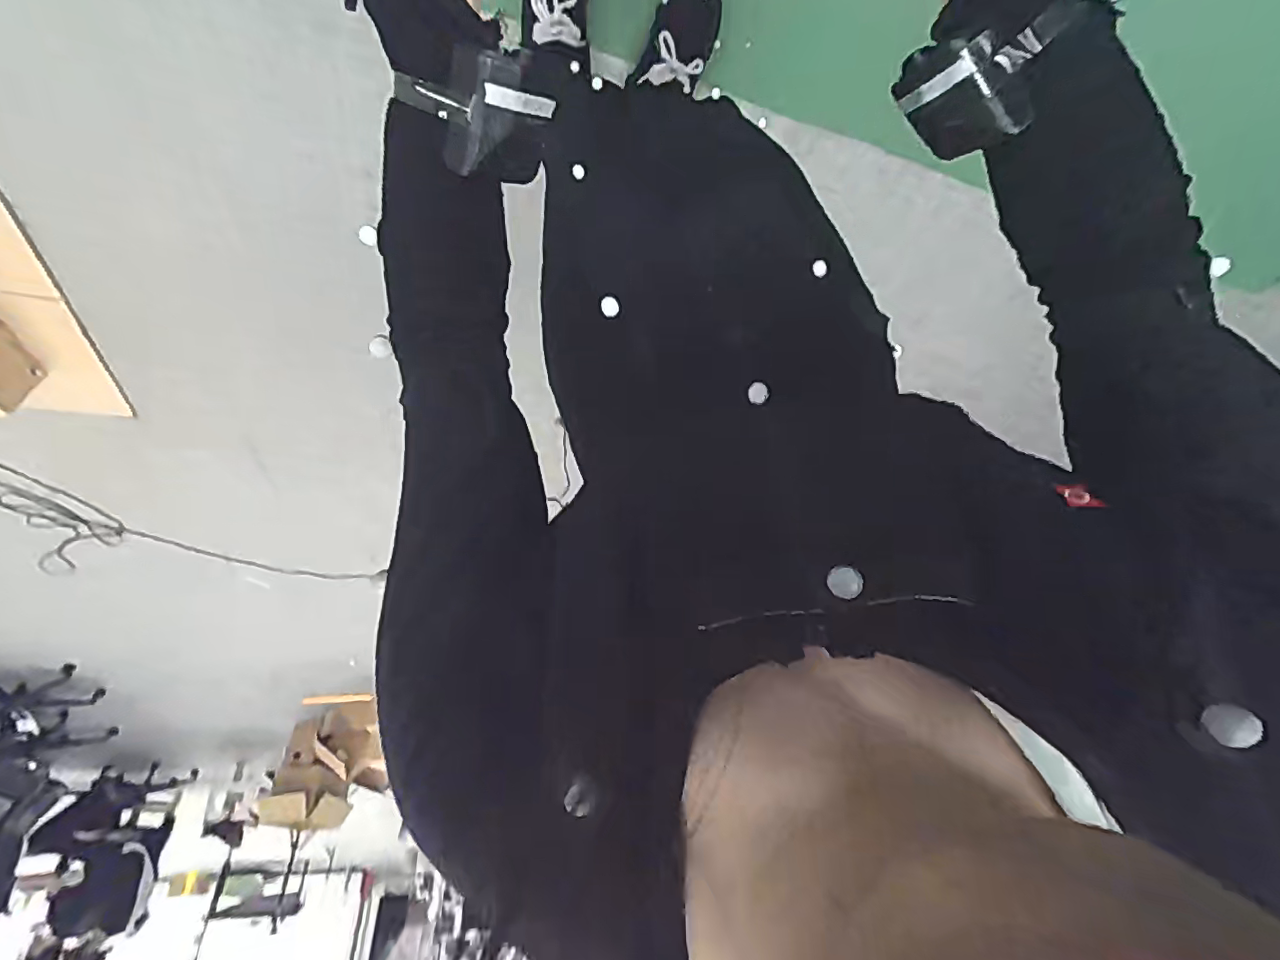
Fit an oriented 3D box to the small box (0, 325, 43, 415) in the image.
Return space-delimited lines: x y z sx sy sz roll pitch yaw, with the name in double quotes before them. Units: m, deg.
"small box" -1.651 -0.280 1.333 0.179 0.176 0.168 3 140 -10
